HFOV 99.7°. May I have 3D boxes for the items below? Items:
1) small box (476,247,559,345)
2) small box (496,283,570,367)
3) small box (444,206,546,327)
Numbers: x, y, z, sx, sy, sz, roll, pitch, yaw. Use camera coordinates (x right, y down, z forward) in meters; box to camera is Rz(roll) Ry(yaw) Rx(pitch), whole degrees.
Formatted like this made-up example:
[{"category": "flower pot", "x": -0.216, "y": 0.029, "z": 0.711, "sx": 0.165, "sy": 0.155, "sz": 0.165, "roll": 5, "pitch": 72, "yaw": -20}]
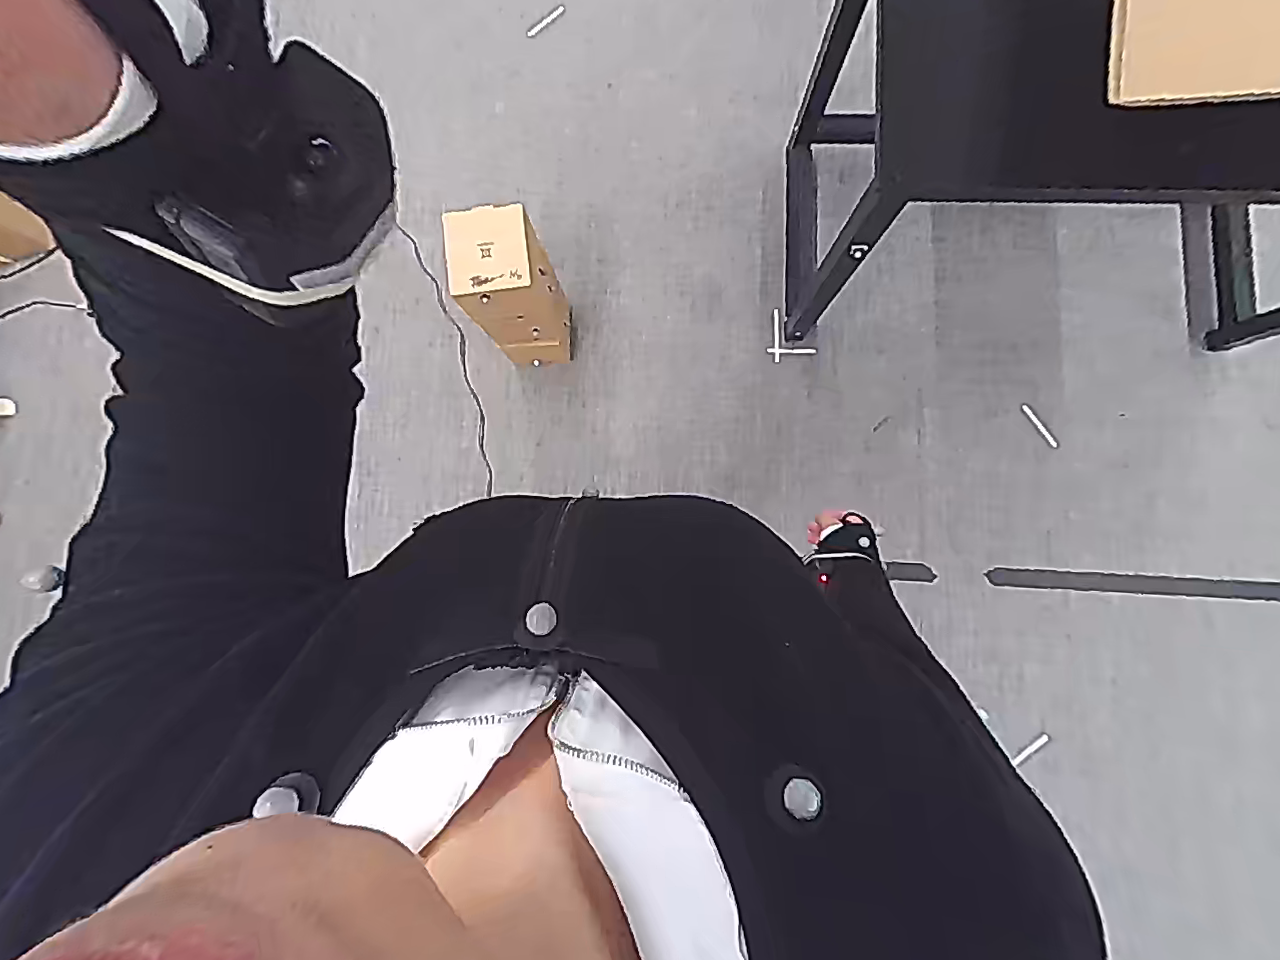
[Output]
[{"category": "small box", "x": -0.298, "y": -0.440, "z": 1.322, "sx": 0.168, "sy": 0.176, "sz": 0.179, "roll": -5, "pitch": 84, "yaw": 1}, {"category": "small box", "x": -0.289, "y": -0.420, "z": 1.482, "sx": 0.168, "sy": 0.176, "sz": 0.179, "roll": -2, "pitch": 86, "yaw": 3}, {"category": "small box", "x": -0.304, "y": -0.449, "z": 1.158, "sx": 0.168, "sy": 0.176, "sz": 0.179, "roll": -7, "pitch": 84, "yaw": 2}]
